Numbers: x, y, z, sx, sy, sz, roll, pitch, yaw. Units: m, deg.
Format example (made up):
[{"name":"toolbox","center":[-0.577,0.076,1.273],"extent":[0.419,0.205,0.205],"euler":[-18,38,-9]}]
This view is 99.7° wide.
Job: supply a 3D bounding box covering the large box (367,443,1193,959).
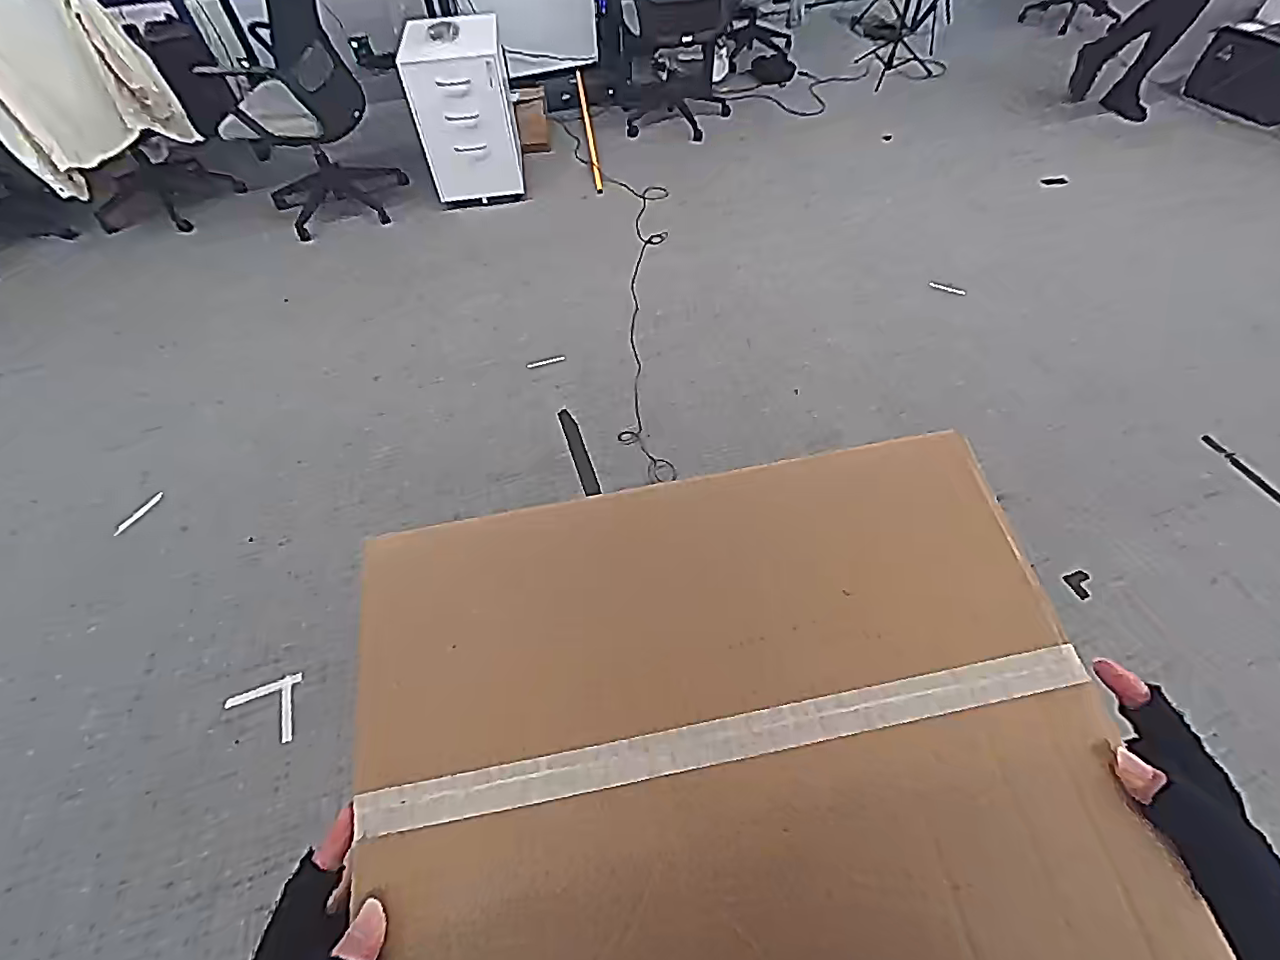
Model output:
[{"name":"large box","center":[0.053,0.207,0.444],"extent":[0.408,0.320,0.320],"euler":[-11,64,-2]}]
